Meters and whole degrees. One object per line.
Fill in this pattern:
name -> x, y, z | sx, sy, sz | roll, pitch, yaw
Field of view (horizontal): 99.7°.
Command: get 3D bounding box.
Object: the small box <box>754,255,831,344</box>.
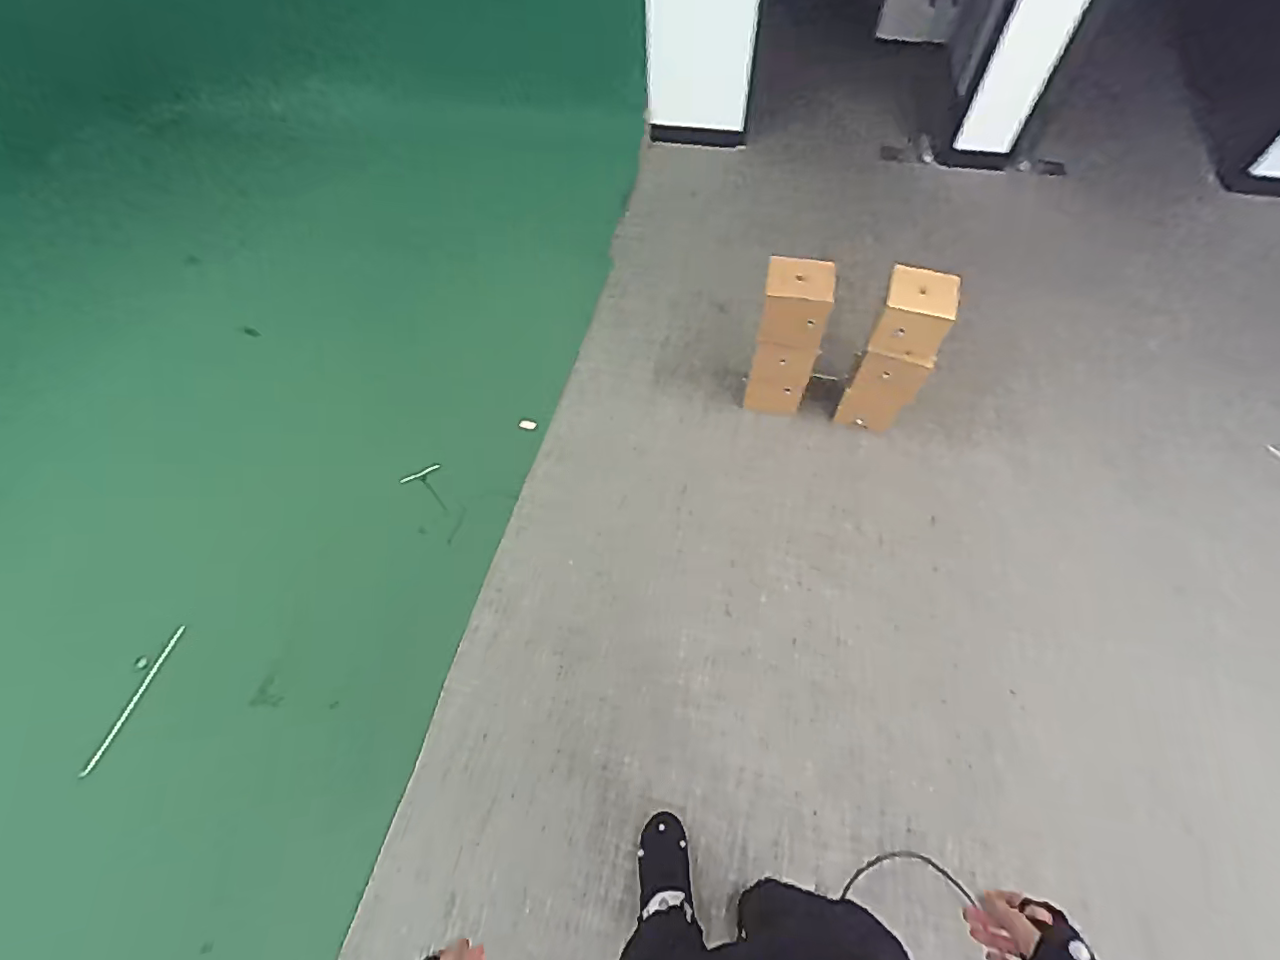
small box -> 0.425, -0.502, 1.519 | 0.179, 0.176, 0.168 | 9, 59, 9

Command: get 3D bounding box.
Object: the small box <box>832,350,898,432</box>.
small box -> 0.739, -0.288, 1.762 | 0.168, 0.176, 0.179 | 18, 62, 14

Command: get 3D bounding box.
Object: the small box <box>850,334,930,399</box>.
small box -> 0.748, -0.366, 1.617 | 0.179, 0.176, 0.168 | 18, 62, 14

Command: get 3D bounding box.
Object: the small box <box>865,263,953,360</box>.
small box -> 0.732, -0.457, 1.482 | 0.168, 0.176, 0.179 | 16, 61, 12

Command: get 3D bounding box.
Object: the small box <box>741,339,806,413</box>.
small box -> 0.443, -0.343, 1.807 | 0.179, 0.176, 0.168 | 10, 59, 8
